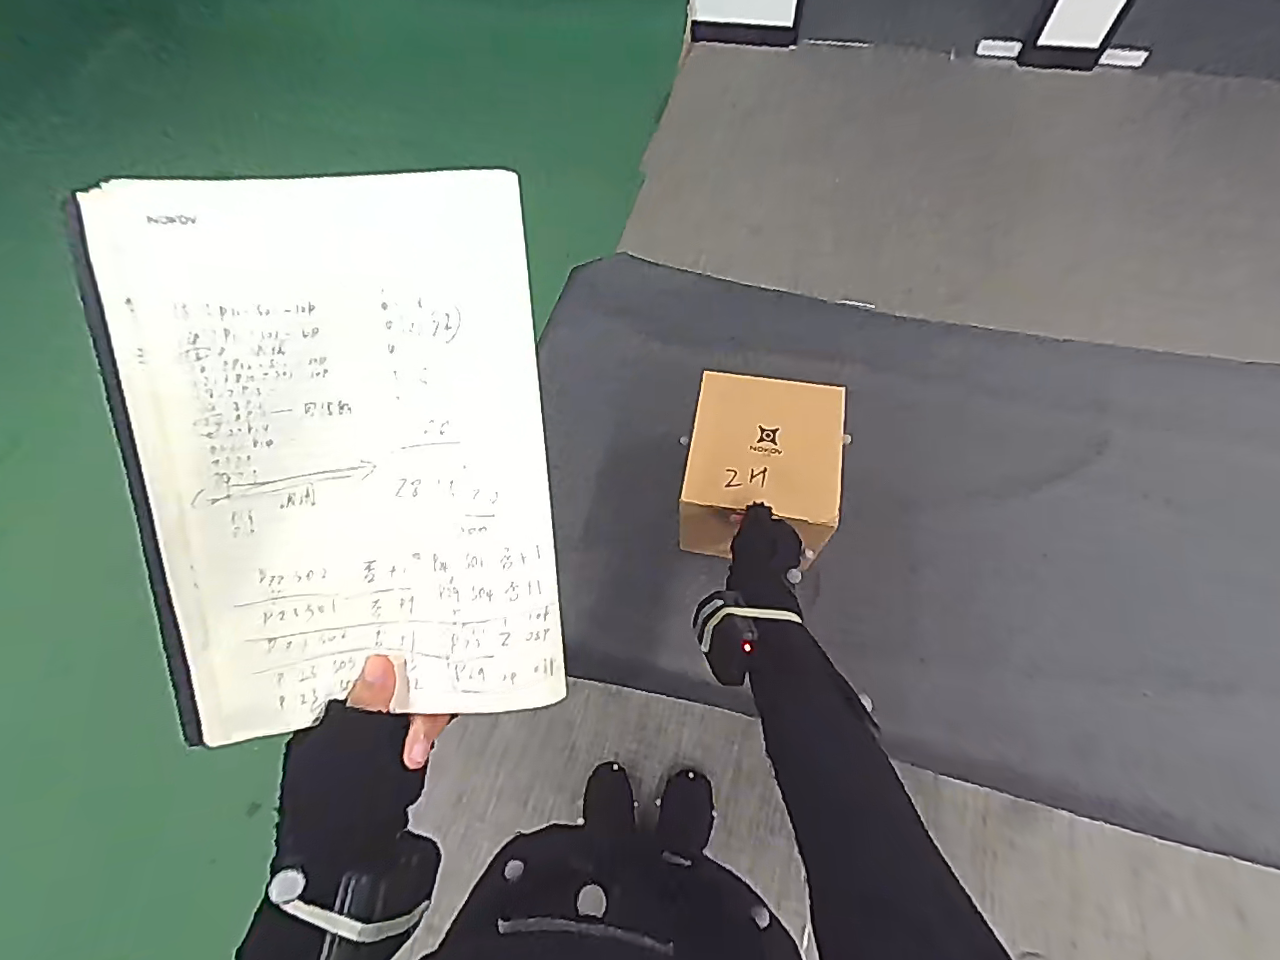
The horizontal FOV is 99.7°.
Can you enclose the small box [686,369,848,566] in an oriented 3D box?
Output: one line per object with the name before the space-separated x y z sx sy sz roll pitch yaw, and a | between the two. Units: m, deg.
small box | 0.150 -0.010 0.673 0.168 0.176 0.179 8 66 9
